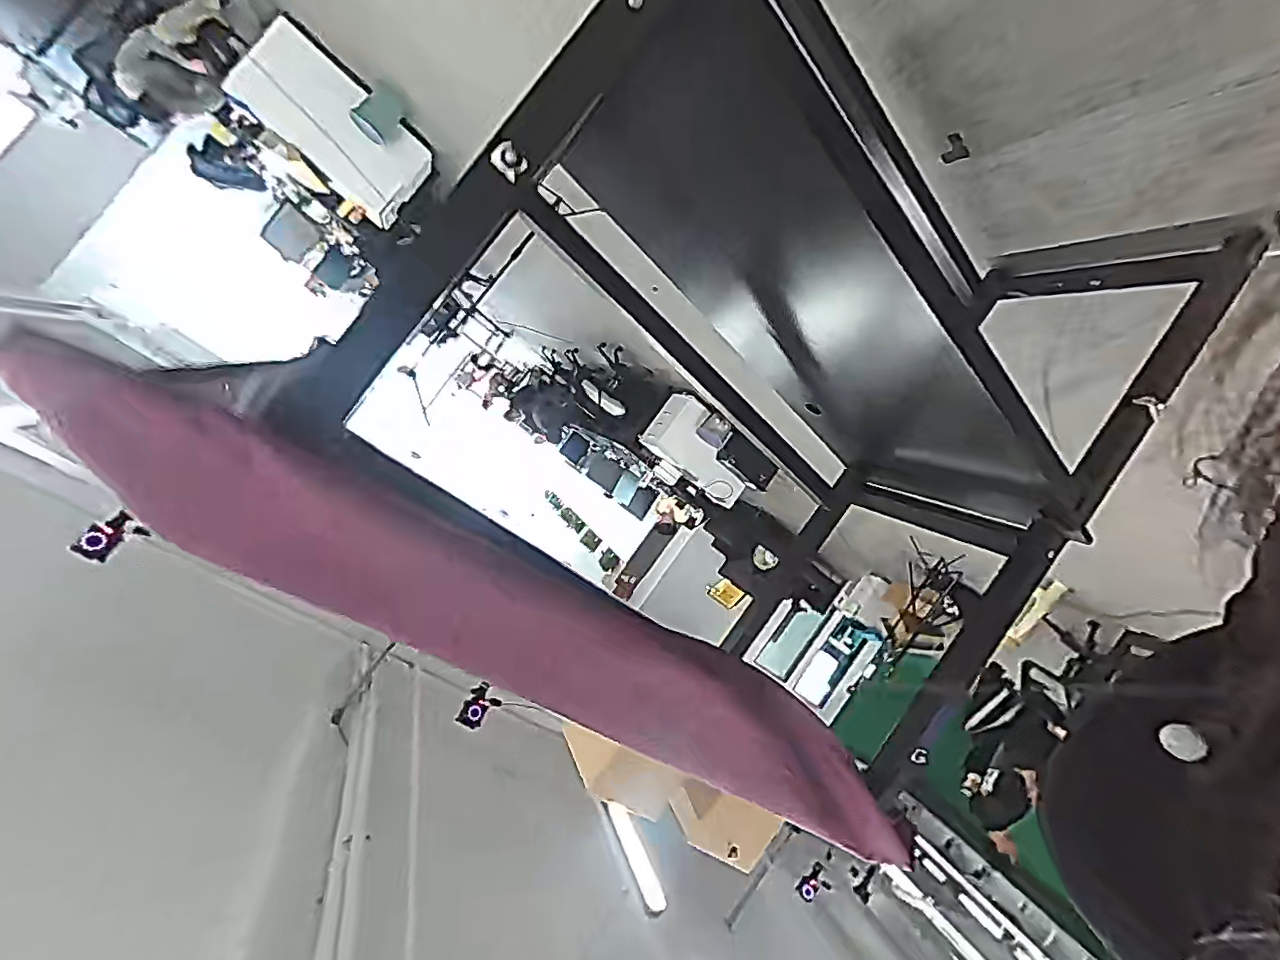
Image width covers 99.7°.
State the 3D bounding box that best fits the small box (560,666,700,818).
[{"bbox_3d":[-0.019,0.472,1.004,0.168,0.176,0.179,37,177,-26],"label":"small box"}]

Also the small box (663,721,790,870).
[{"bbox_3d":[0.166,0.616,1.082,0.168,0.176,0.179,37,177,-19],"label":"small box"}]
